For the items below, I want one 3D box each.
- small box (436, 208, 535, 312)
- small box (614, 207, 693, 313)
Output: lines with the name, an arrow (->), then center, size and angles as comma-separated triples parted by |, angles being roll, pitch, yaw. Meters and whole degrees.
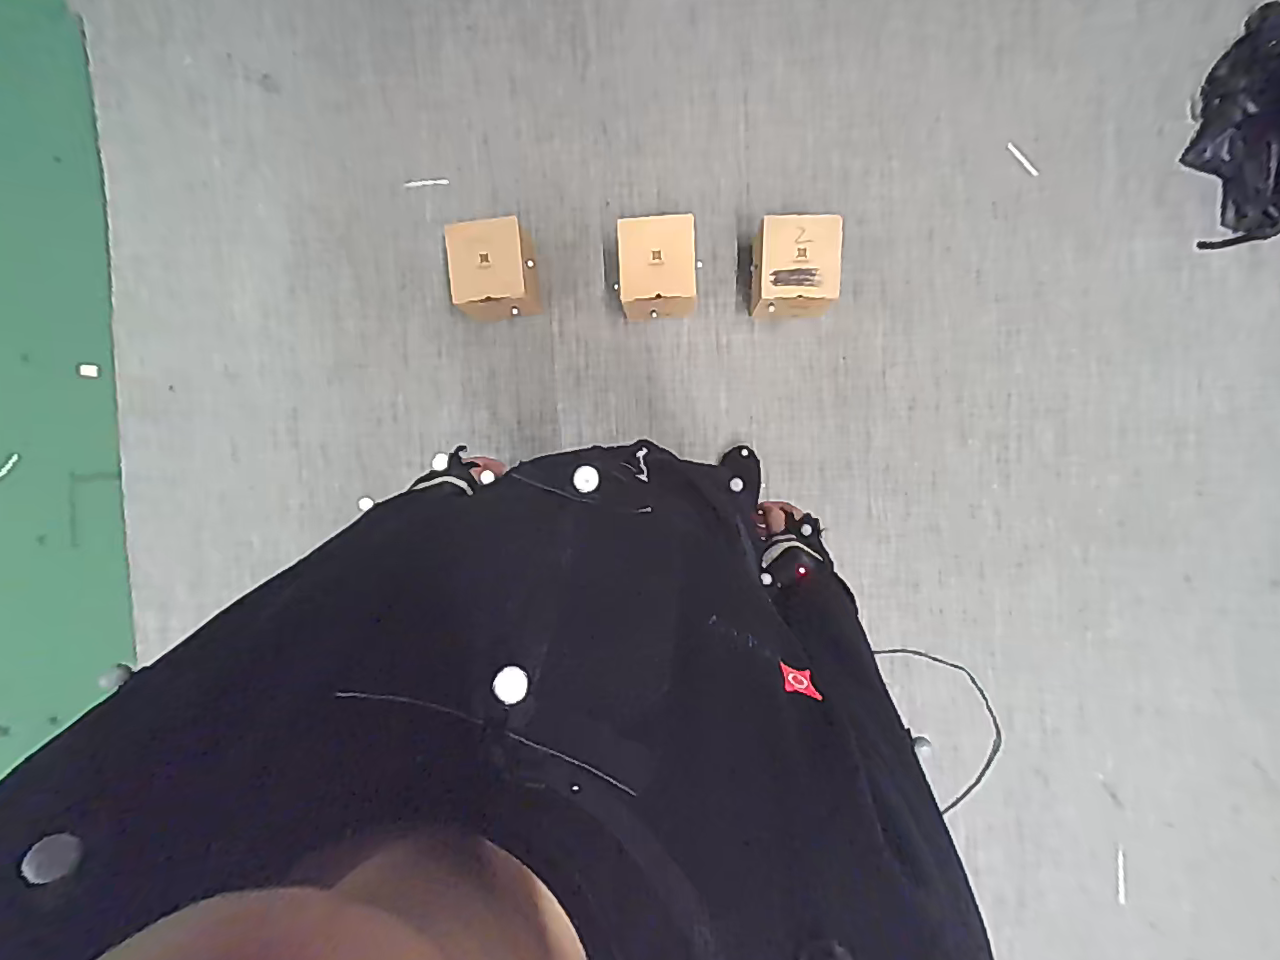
small box -> -0.345, -0.491, 1.236 | 0.168, 0.176, 0.179 | -5, 93, 3
small box -> 0.030, -0.487, 1.216 | 0.168, 0.176, 0.179 | -3, 94, 3
